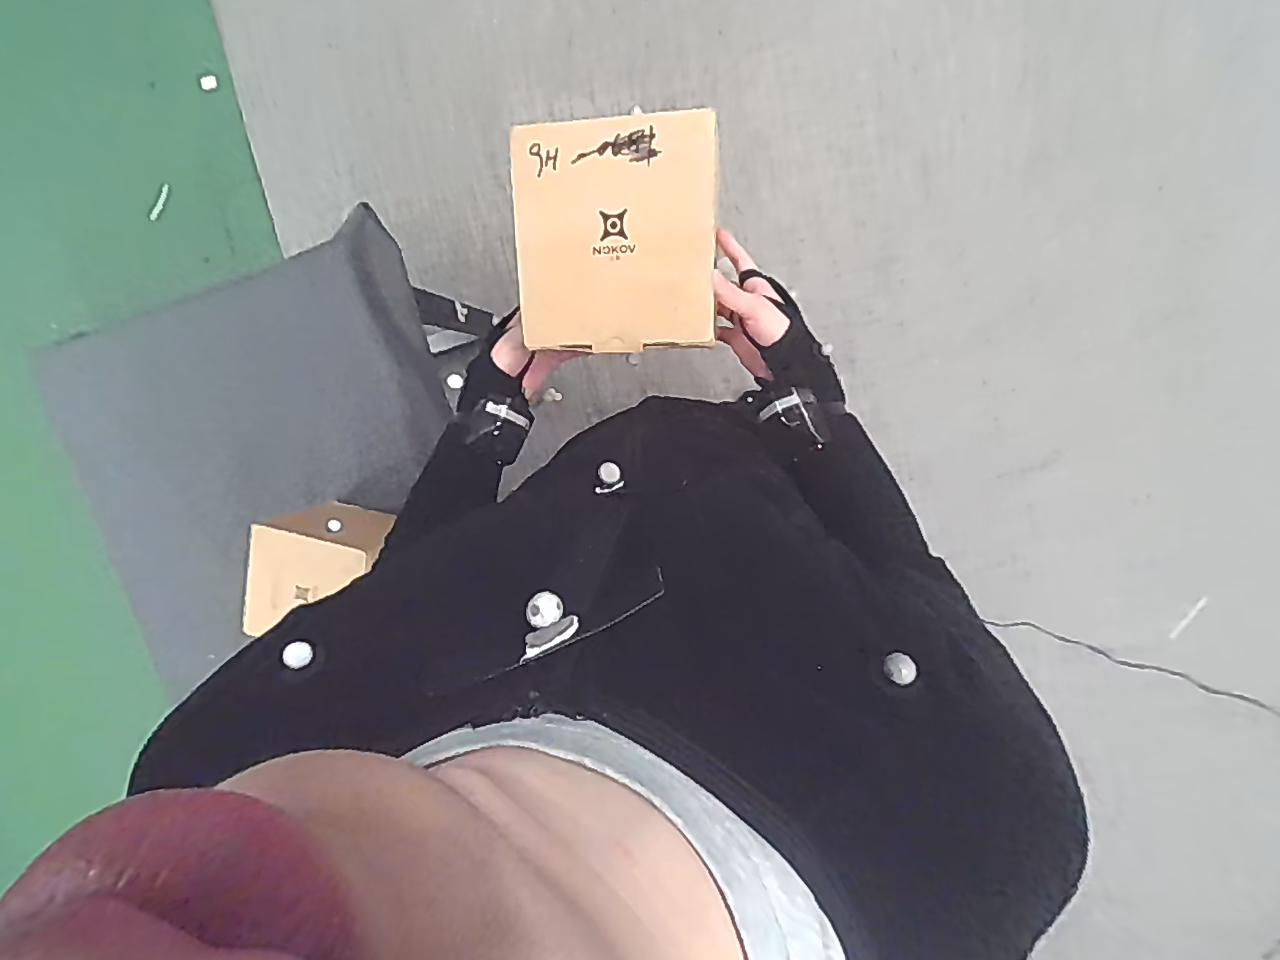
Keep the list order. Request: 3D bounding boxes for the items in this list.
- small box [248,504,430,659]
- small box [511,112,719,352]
[{"bbox_3d":[-0.444,0.141,0.820,0.179,0.176,0.168,12,100,7],"label":"small box"},{"bbox_3d":[-0.010,-0.215,0.513,0.168,0.176,0.179,1,104,7],"label":"small box"}]
